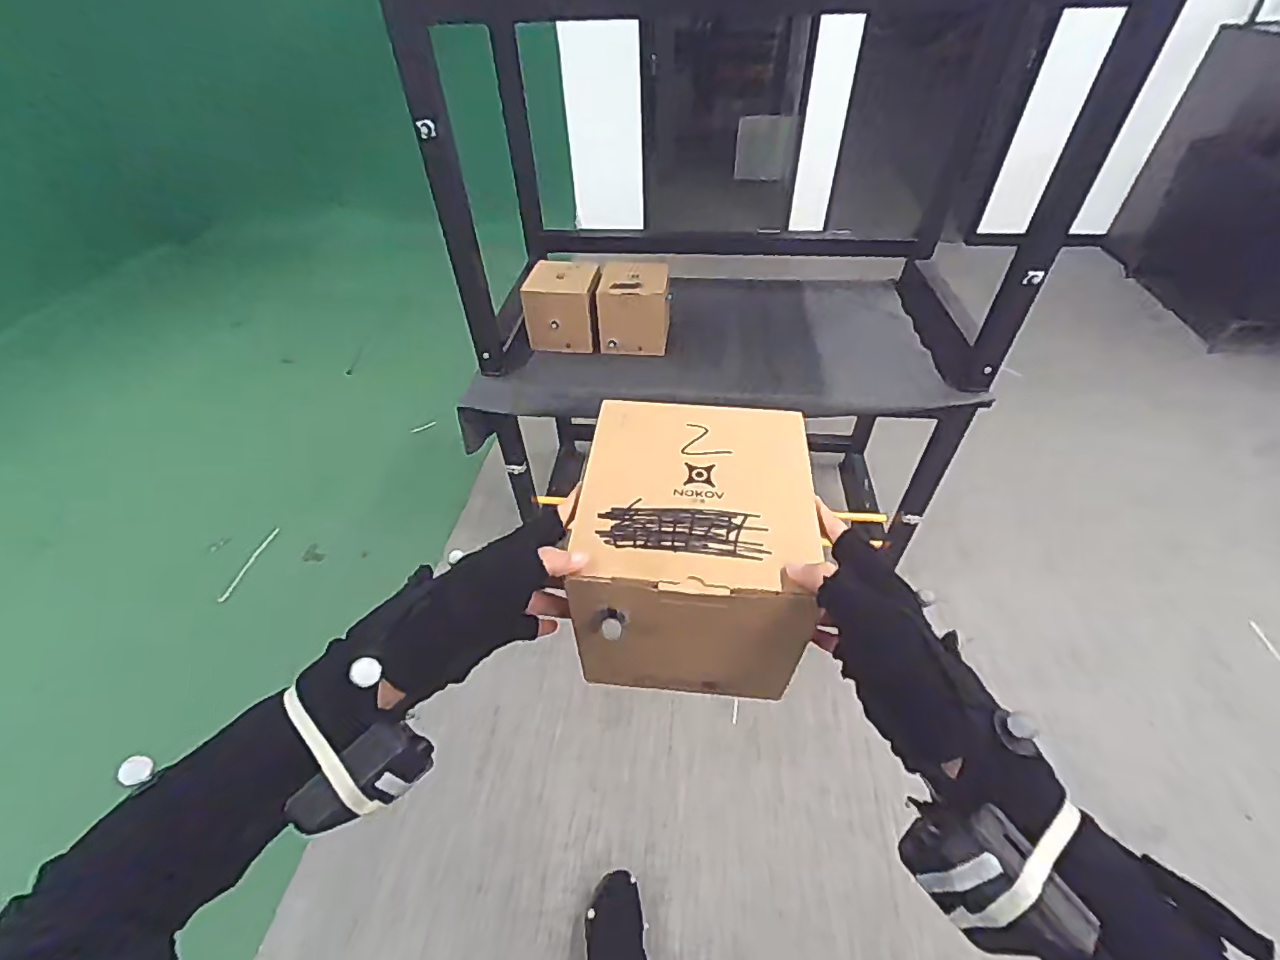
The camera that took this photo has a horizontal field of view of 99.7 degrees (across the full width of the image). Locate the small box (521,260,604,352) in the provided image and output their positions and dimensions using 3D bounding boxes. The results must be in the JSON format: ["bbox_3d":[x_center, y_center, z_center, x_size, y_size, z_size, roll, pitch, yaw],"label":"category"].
[{"bbox_3d":[-0.191,-0.449,1.398,0.168,0.176,0.179,6,45,6],"label":"small box"}]
